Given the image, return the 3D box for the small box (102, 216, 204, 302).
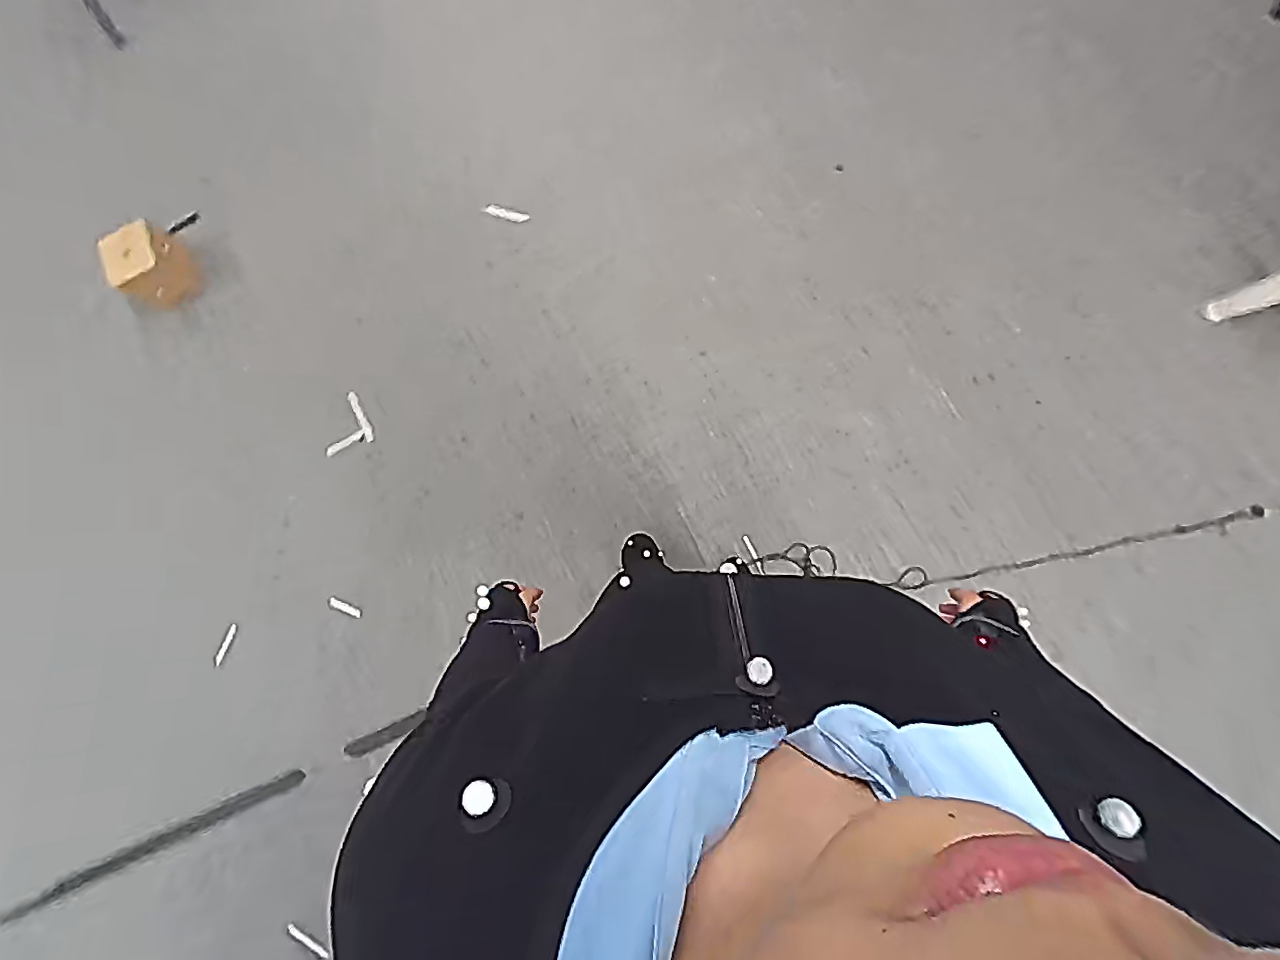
[{"bbox_3d":[-1.565,-0.702,1.750,0.168,0.176,0.179,-24,80,2],"label":"small box"}]
